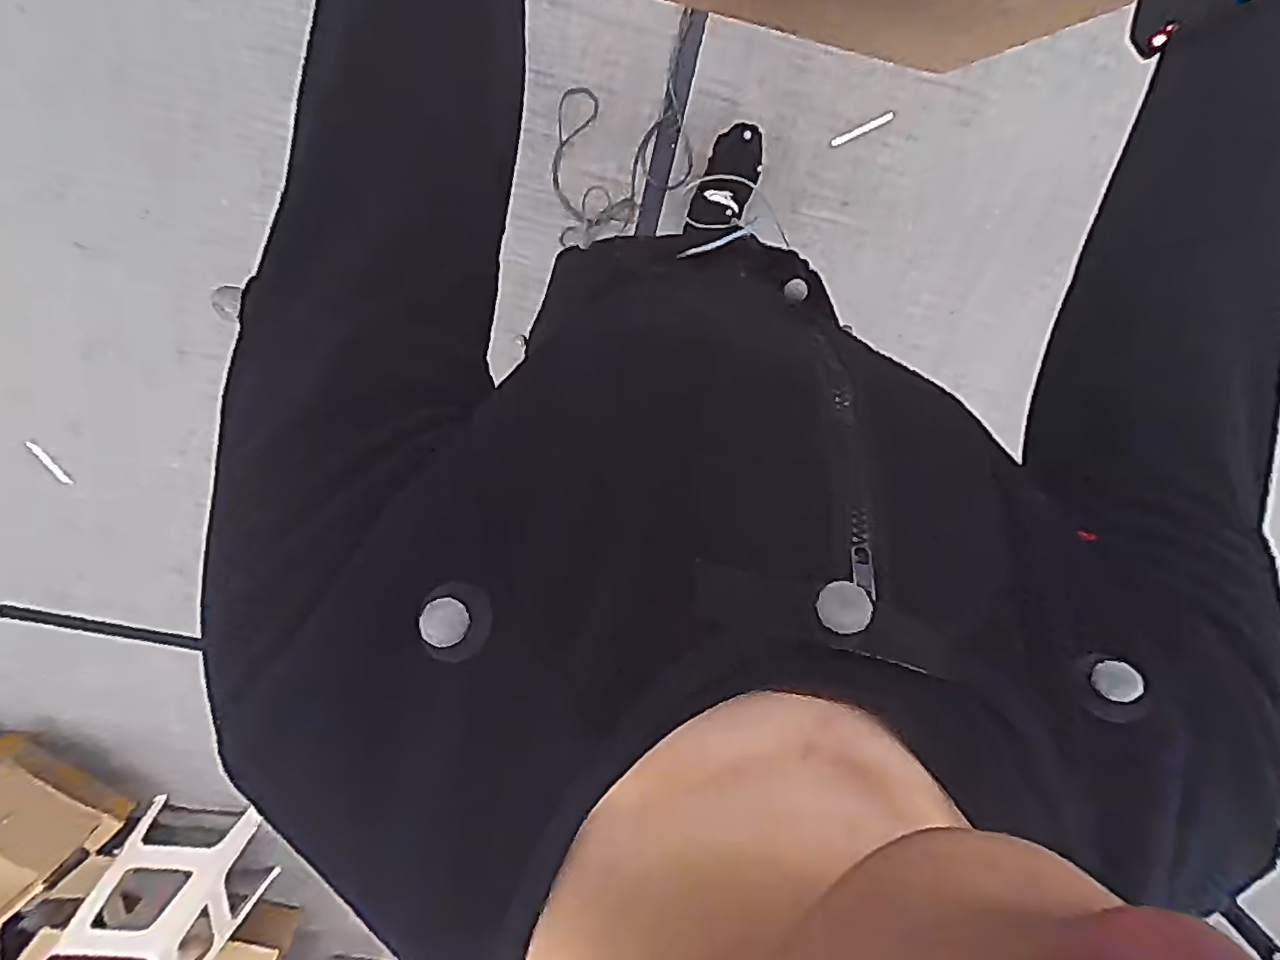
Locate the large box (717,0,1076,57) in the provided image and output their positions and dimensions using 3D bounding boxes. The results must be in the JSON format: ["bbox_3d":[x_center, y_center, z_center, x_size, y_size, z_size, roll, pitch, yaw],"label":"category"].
[{"bbox_3d":[0.176,-0.564,0.388,0.408,0.320,0.320,11,120,-5],"label":"large box"}]
